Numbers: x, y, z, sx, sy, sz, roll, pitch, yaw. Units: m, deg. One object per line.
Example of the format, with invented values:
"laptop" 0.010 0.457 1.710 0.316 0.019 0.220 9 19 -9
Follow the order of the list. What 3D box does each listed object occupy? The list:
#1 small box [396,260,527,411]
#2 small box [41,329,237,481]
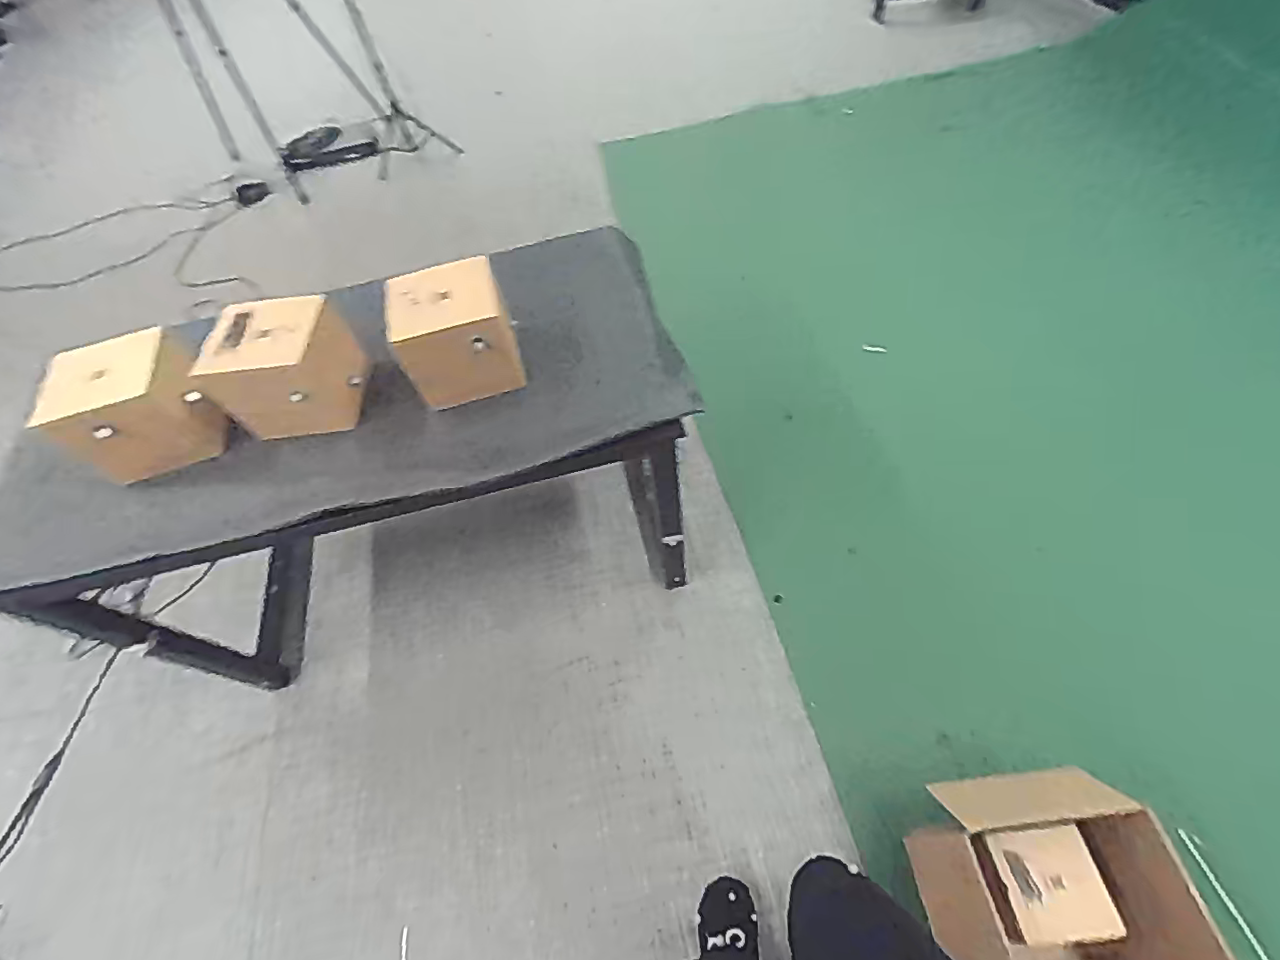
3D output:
"small box" -0.306 -0.250 0.953 0.179 0.176 0.168 -16 57 -3
"small box" -0.845 -0.125 0.937 0.179 0.176 0.168 -19 58 -5
